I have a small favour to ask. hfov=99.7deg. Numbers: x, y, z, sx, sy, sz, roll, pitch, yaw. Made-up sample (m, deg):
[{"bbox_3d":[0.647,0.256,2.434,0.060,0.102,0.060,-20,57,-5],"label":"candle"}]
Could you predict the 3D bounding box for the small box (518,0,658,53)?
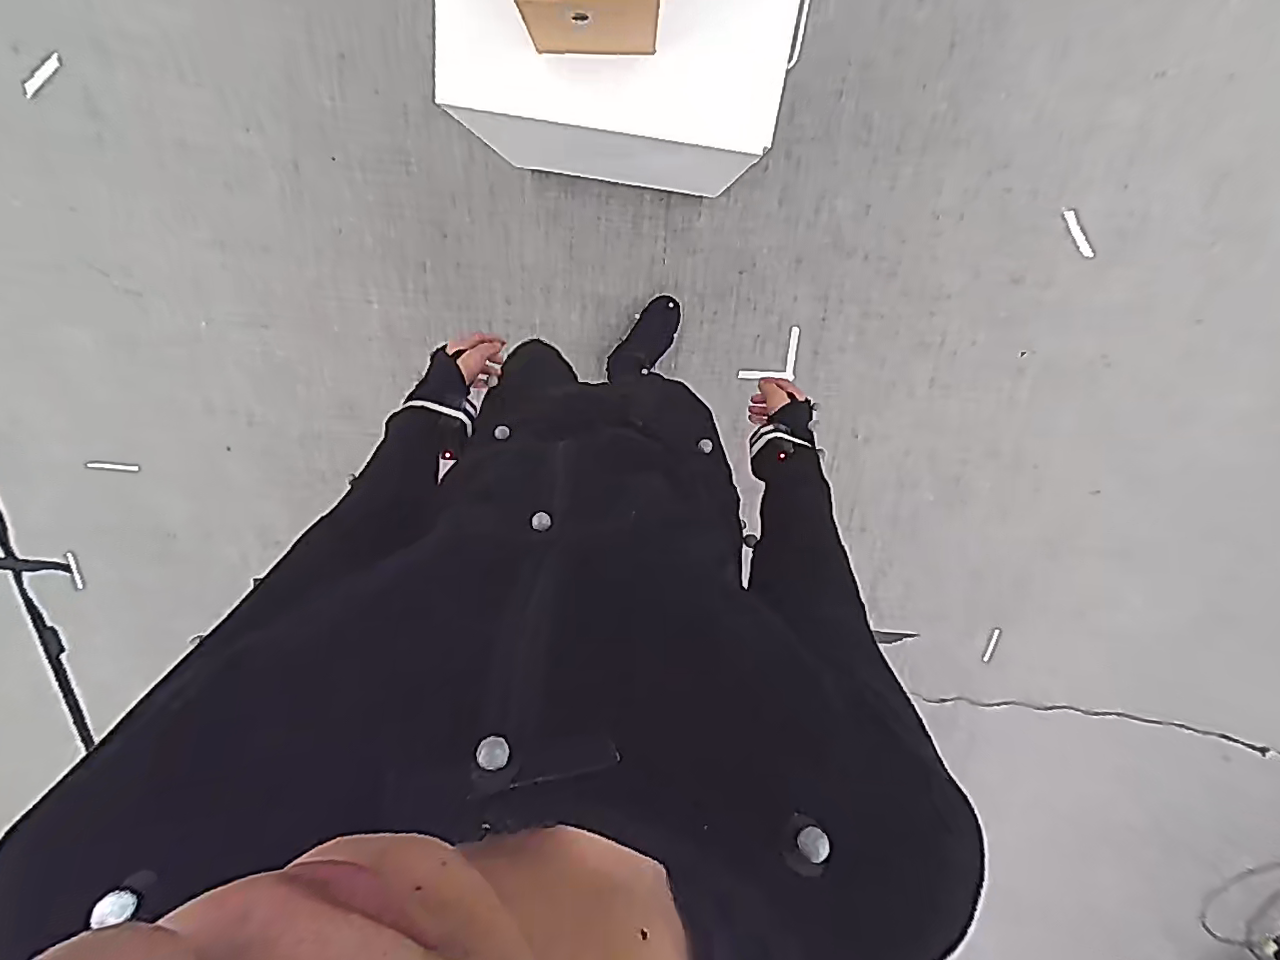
[{"bbox_3d":[-0.064,-0.674,0.691,0.179,0.176,0.168,0,112,-1],"label":"small box"}]
